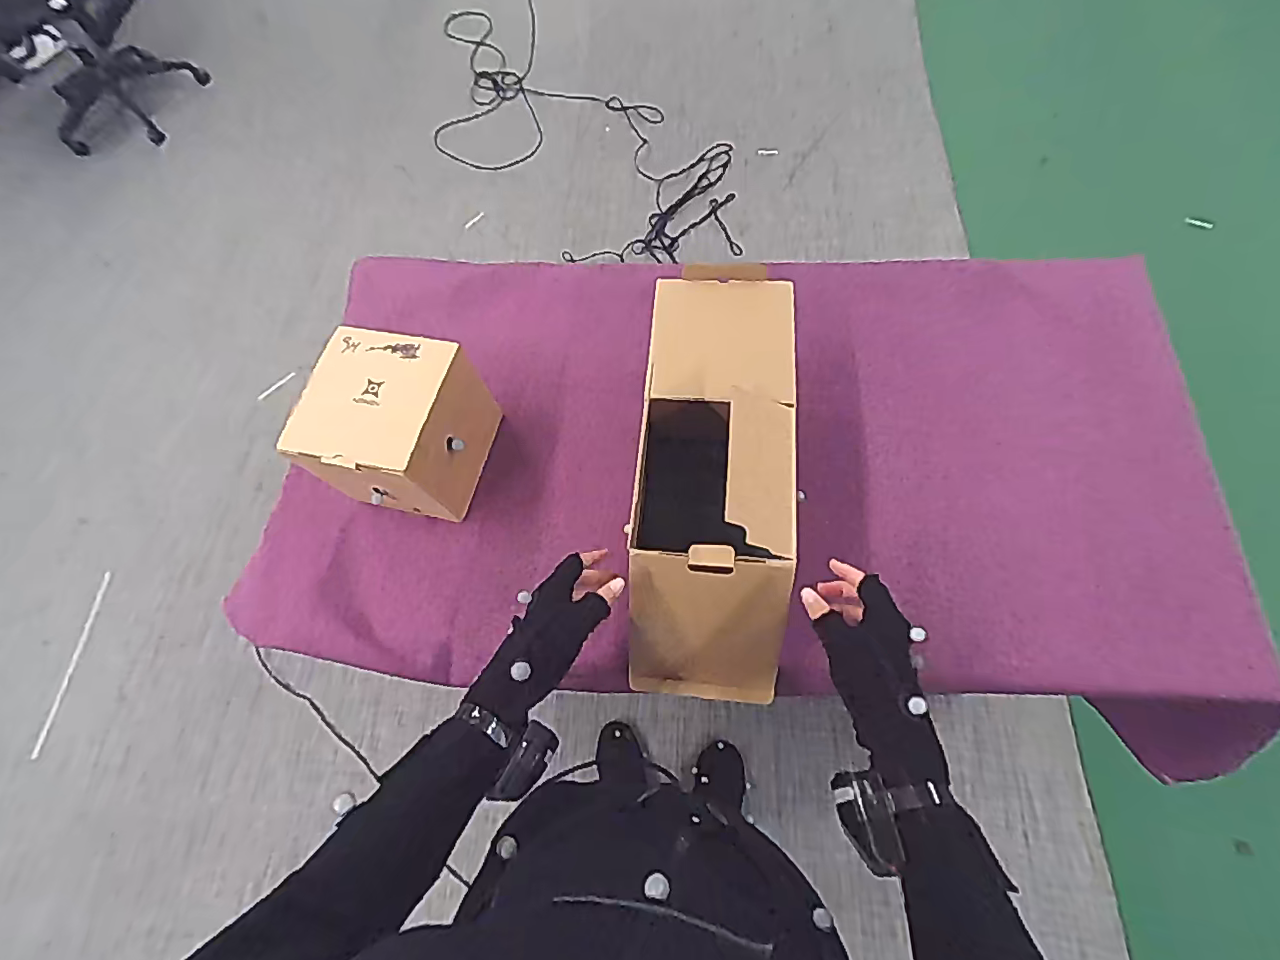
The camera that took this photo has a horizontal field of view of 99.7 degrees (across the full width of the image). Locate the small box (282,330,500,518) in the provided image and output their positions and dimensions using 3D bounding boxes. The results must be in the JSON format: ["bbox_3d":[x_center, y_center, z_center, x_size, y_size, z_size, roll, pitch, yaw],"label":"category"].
[{"bbox_3d":[-0.301,-0.064,0.700,0.168,0.176,0.179,11,69,9],"label":"small box"}]
